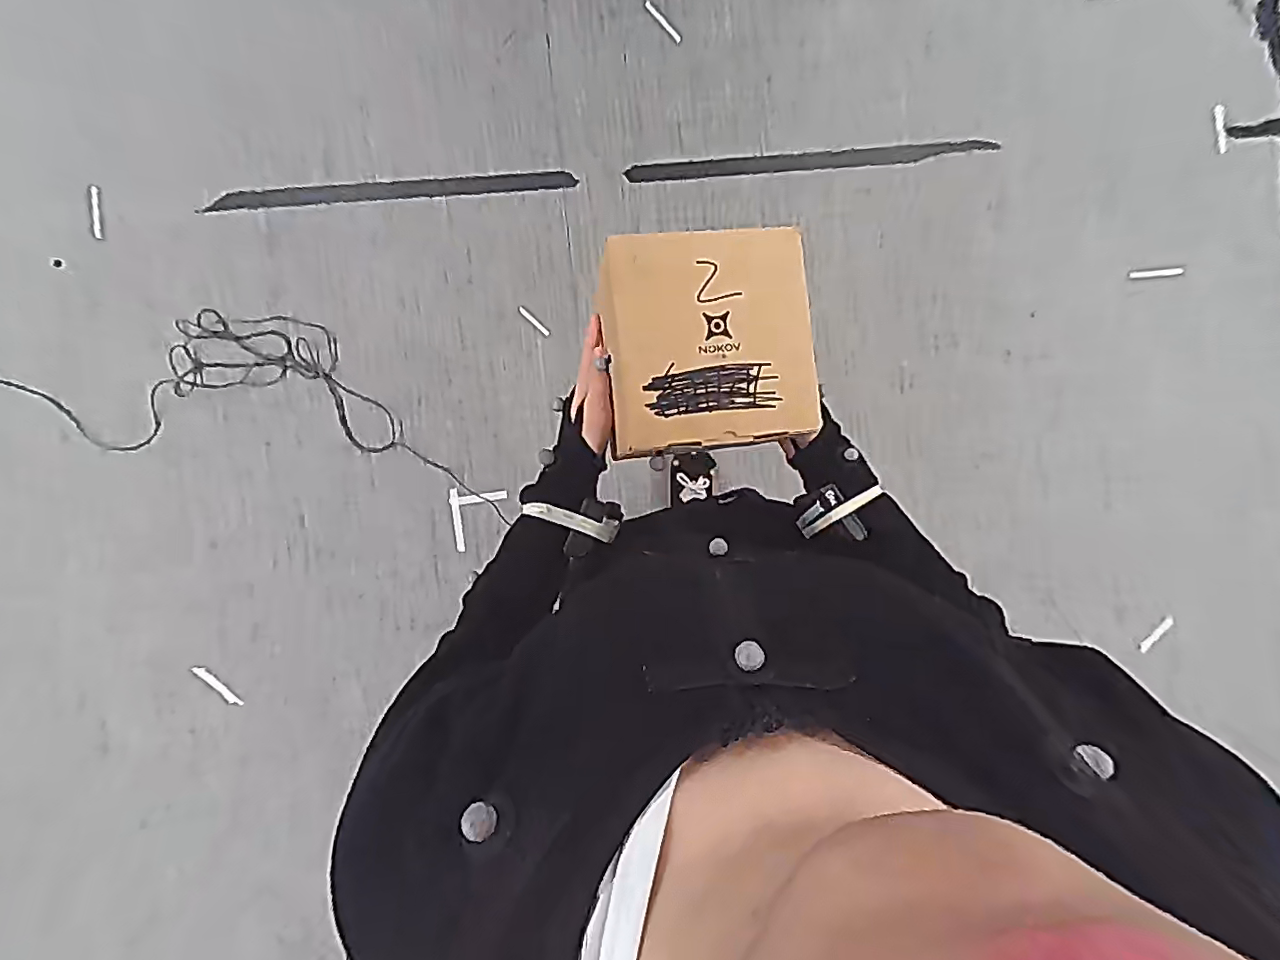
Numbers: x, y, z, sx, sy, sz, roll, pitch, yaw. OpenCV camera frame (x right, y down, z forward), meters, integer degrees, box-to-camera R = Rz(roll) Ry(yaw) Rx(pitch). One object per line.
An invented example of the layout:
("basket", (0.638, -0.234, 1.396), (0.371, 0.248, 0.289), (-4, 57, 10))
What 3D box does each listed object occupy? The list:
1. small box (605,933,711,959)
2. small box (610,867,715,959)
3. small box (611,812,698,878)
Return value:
("small box", (0.038, 0.802, 0.765), (0.168, 0.176, 0.179), (-7, 89, -3))
("small box", (0.035, 0.802, 0.926), (0.168, 0.176, 0.179), (-5, 91, -2))
("small box", (0.026, 0.800, 1.091), (0.168, 0.176, 0.179), (-4, 89, -2))
